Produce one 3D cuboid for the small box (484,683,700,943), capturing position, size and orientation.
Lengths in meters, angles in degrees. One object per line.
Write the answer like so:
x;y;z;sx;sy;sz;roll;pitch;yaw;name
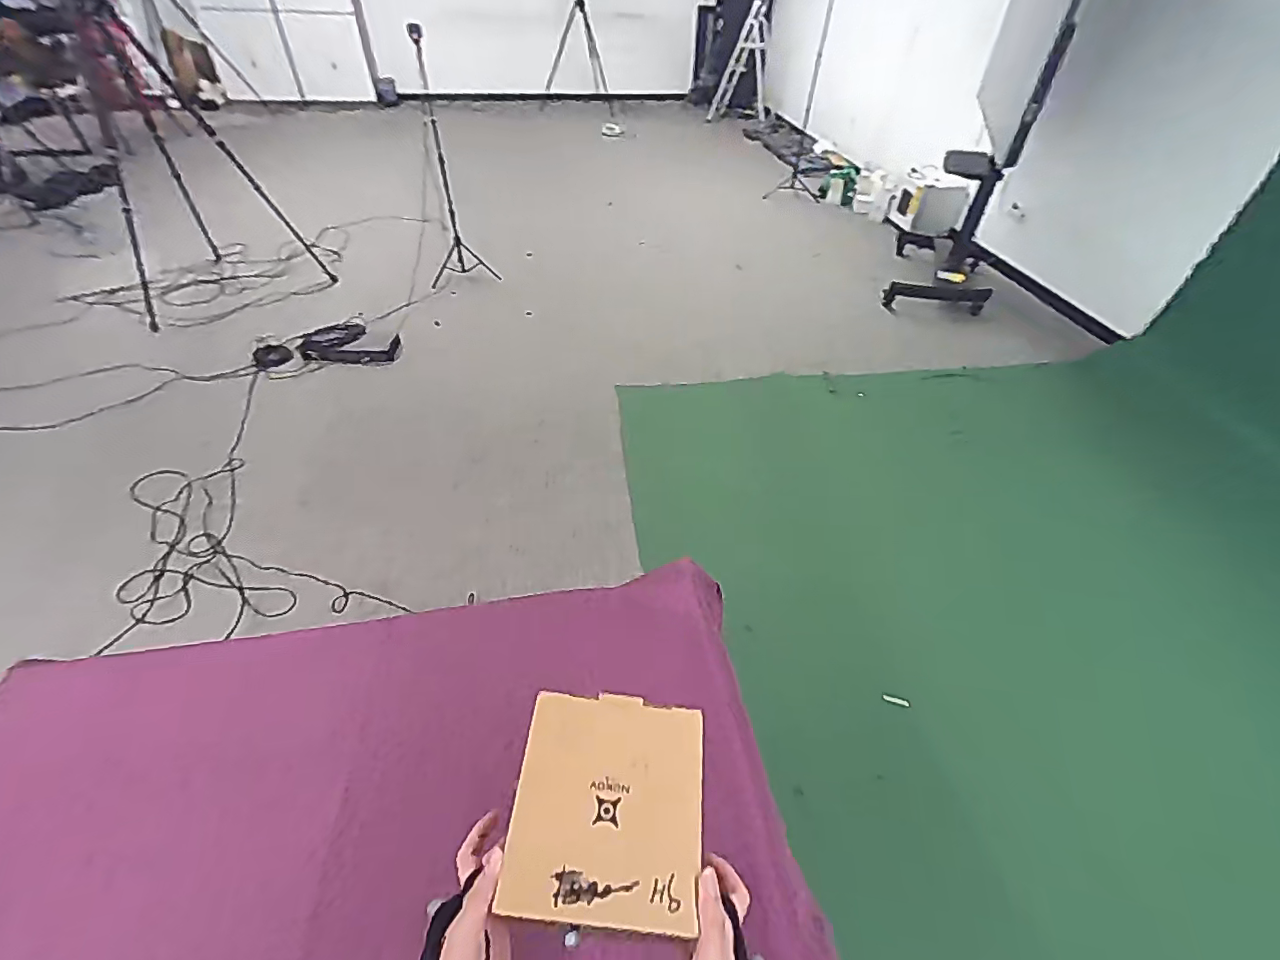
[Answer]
-0.037;0.323;0.524;0.168;0.176;0.179;6;48;1;small box
